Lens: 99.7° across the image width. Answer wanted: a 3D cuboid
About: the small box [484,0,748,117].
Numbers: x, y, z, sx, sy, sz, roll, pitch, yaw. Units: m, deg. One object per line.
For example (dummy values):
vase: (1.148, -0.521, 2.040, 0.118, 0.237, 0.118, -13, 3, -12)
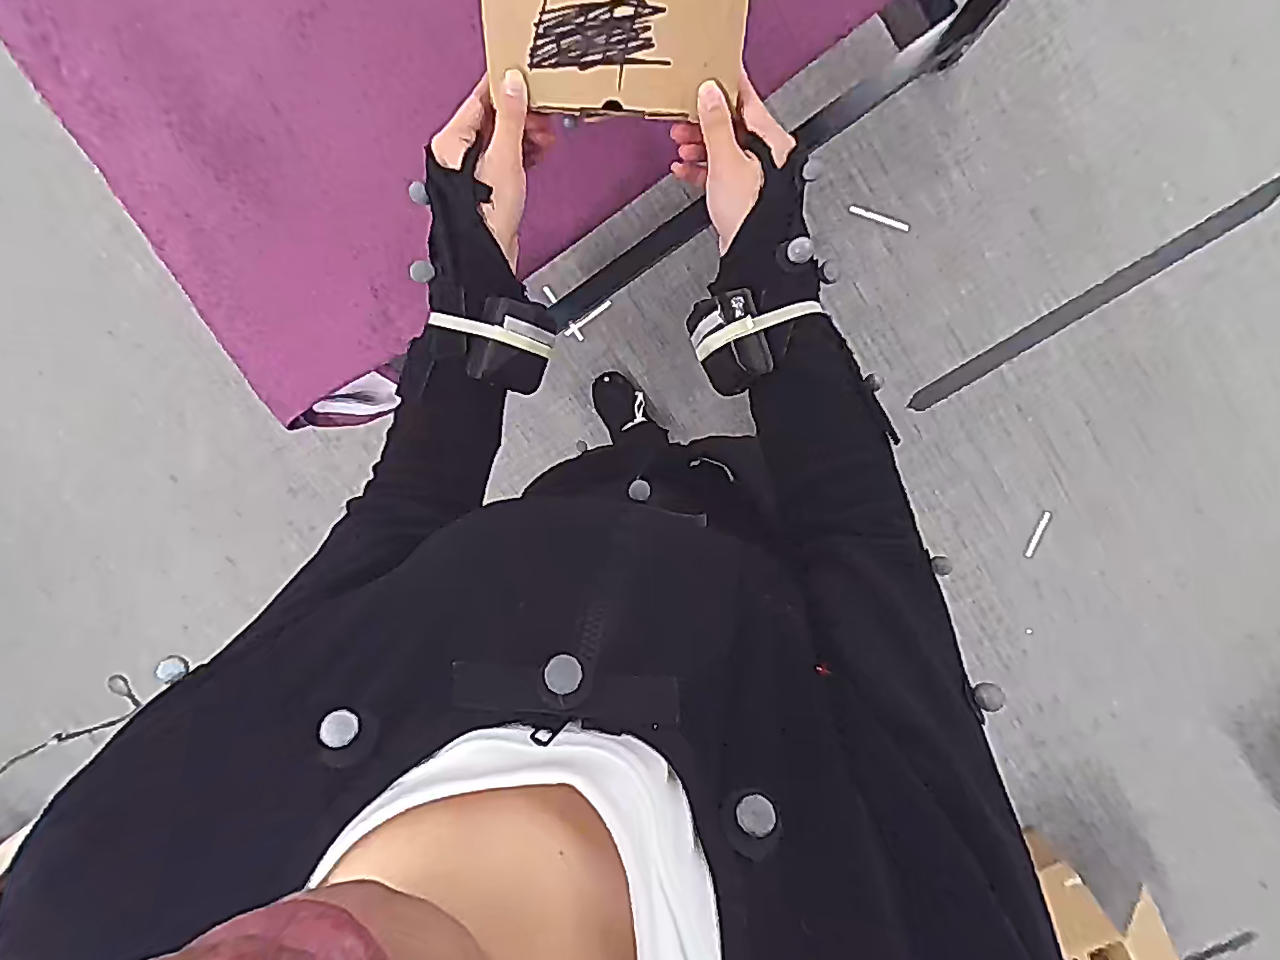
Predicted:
small box: (-0.008, -0.365, 0.377, 0.168, 0.176, 0.179, 4, 124, 1)
